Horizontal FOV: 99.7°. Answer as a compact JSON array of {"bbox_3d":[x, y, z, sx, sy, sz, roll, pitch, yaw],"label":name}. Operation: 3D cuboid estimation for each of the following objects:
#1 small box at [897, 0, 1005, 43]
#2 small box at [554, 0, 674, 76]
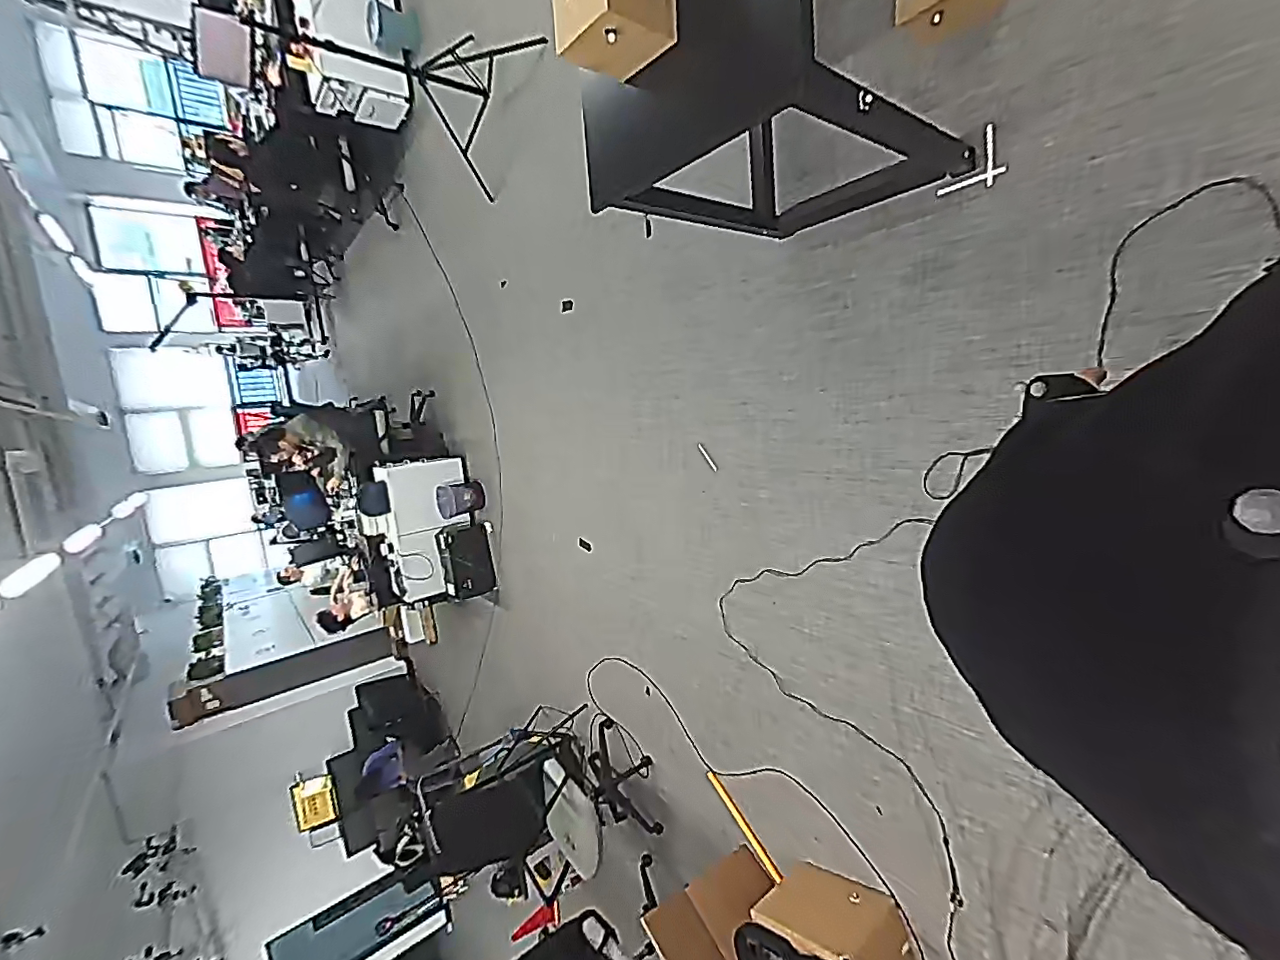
[{"bbox_3d":[0.701,-1.135,1.211,0.179,0.176,0.168,5,103,51],"label":"small box"},{"bbox_3d":[-0.047,-0.918,1.030,0.179,0.176,0.168,11,107,51],"label":"small box"}]
